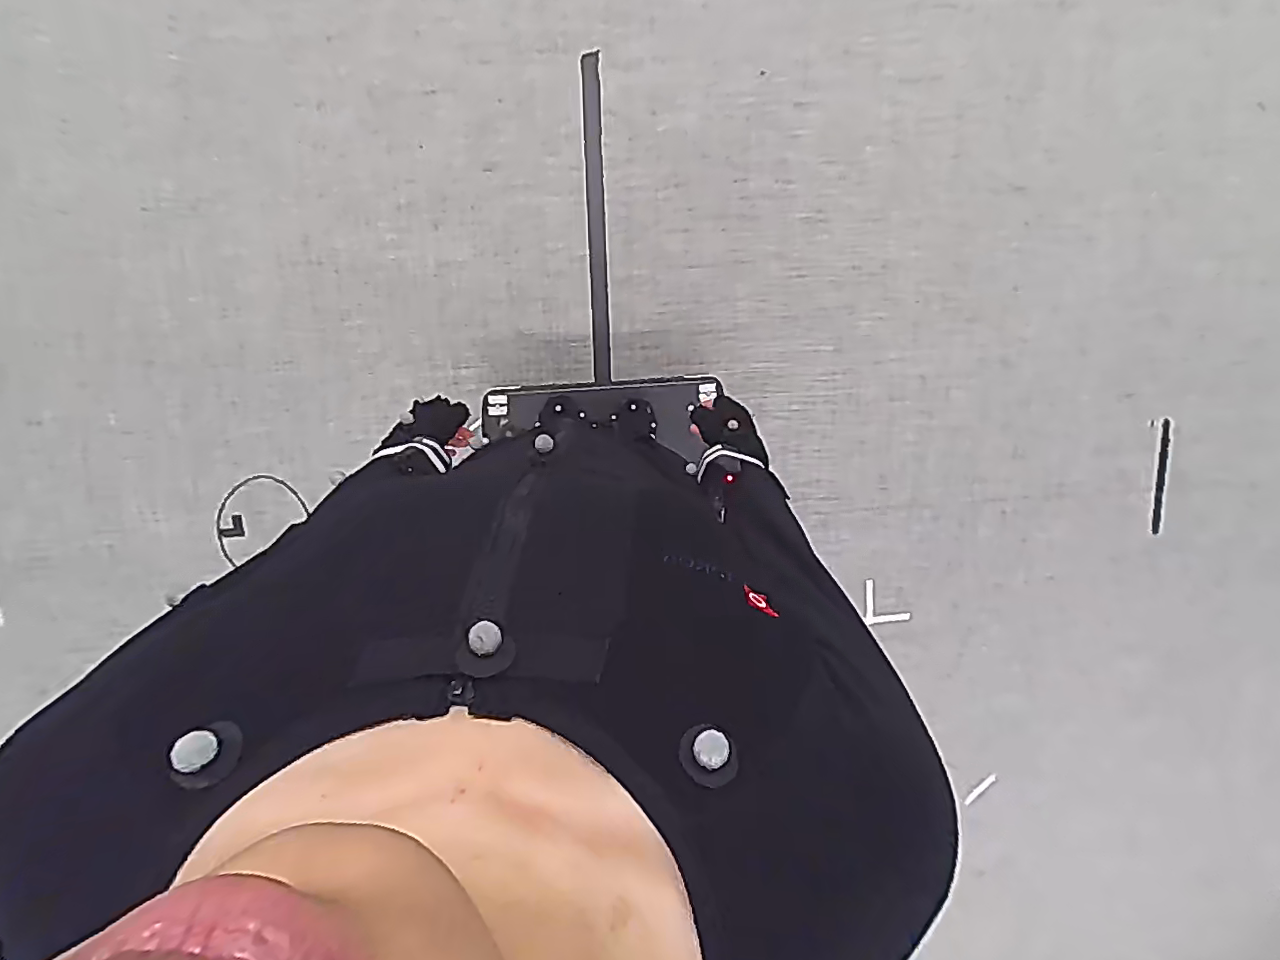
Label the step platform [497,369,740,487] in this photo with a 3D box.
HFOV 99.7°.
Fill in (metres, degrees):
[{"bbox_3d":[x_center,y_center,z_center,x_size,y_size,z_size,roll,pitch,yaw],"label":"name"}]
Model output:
[{"bbox_3d":[-0.060,-0.153,1.553,0.684,0.204,0.286,-5,101,-4],"label":"step platform"}]
